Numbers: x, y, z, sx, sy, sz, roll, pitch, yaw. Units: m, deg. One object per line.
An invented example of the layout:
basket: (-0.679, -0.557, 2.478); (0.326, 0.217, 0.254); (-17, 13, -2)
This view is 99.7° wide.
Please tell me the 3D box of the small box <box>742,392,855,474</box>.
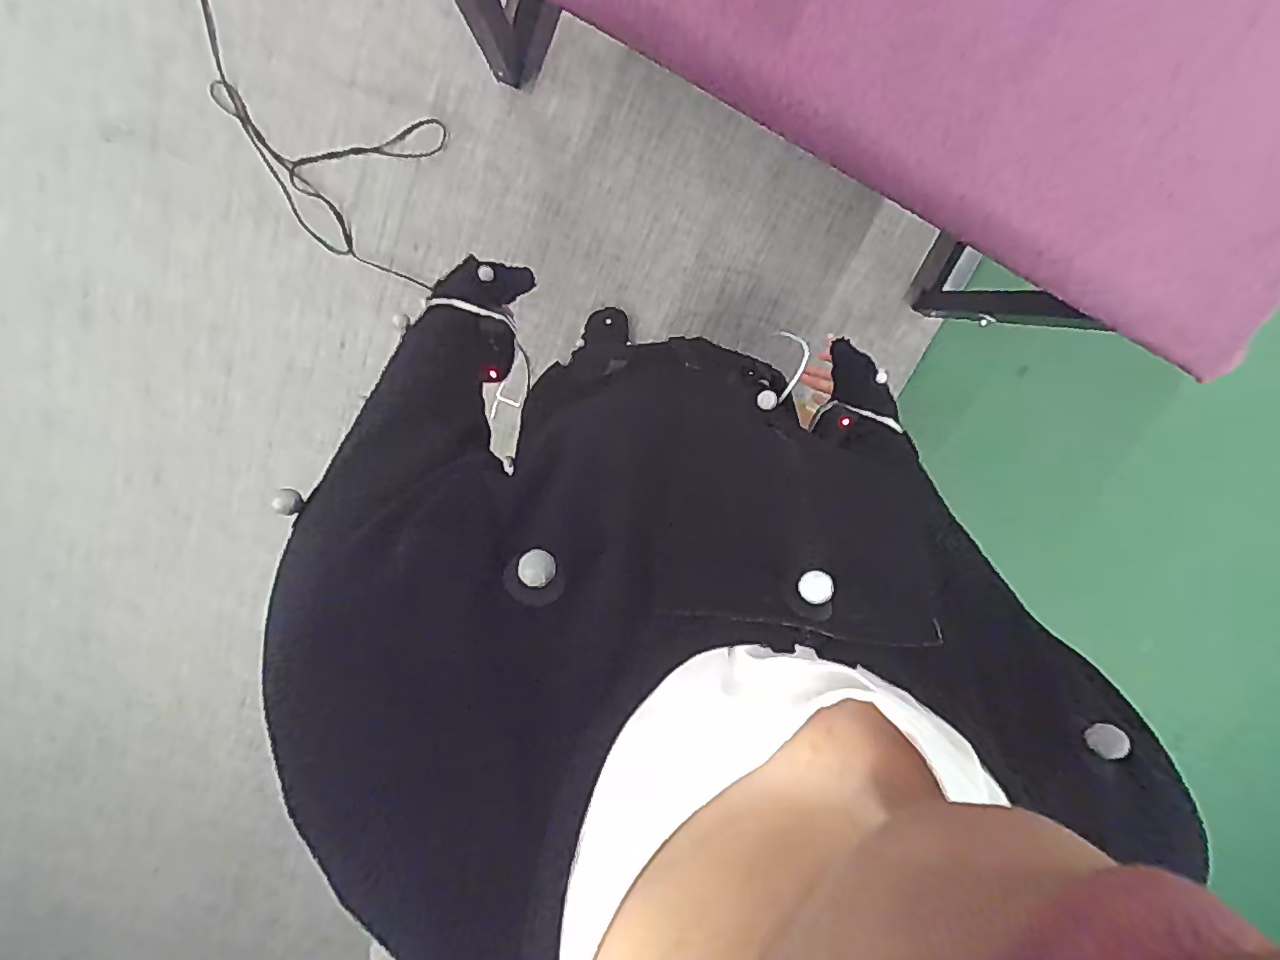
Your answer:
small box: (0.355, -0.084, 1.260); (0.168, 0.176, 0.179); (26, 105, -13)
